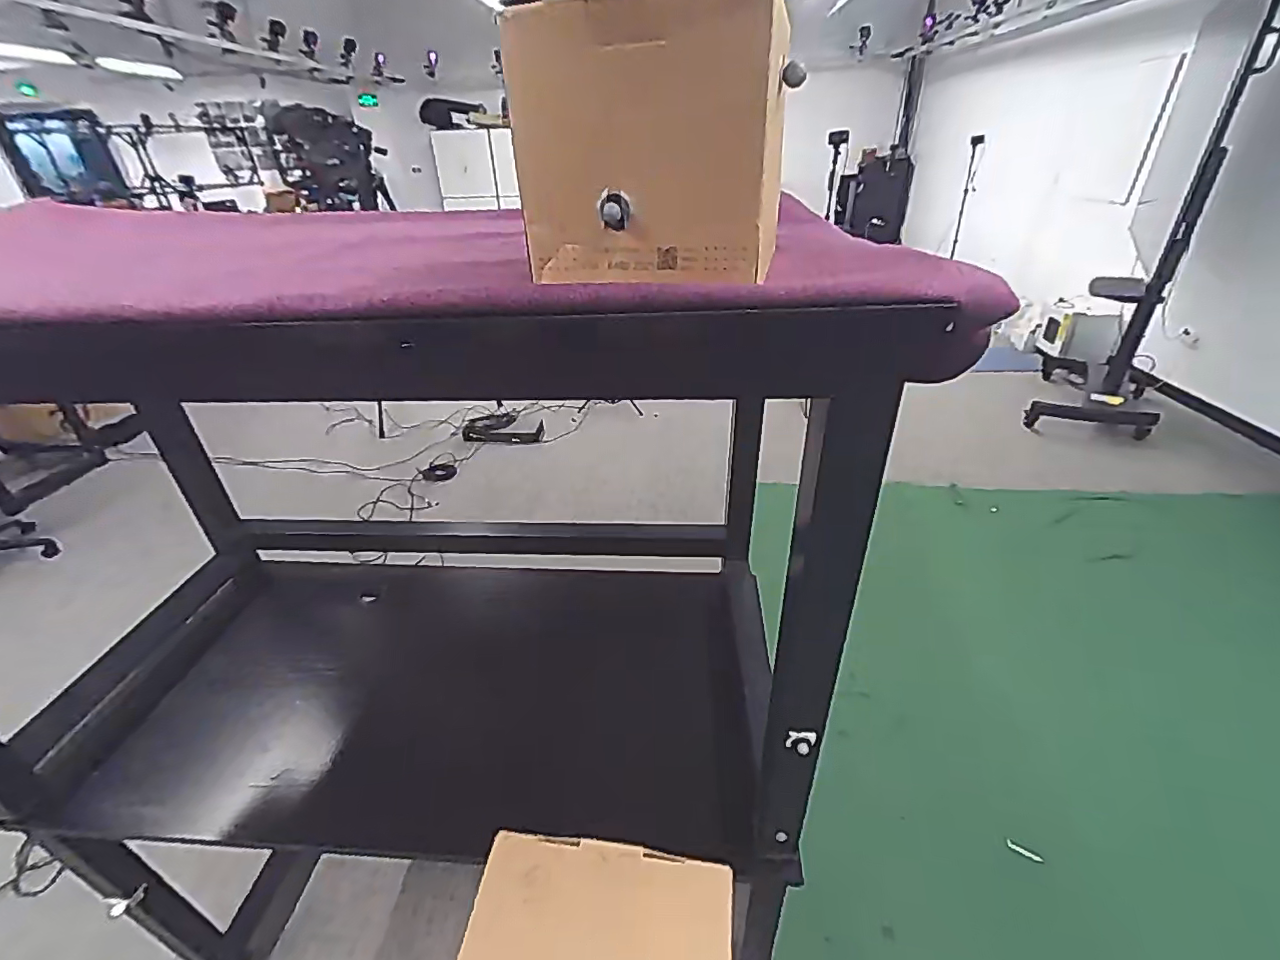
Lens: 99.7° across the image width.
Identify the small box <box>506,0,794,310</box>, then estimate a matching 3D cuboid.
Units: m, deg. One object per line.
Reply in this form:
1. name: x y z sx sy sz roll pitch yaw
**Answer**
1. small box: 0.020 -0.239 0.410 0.168 0.176 0.179 6 34 13
